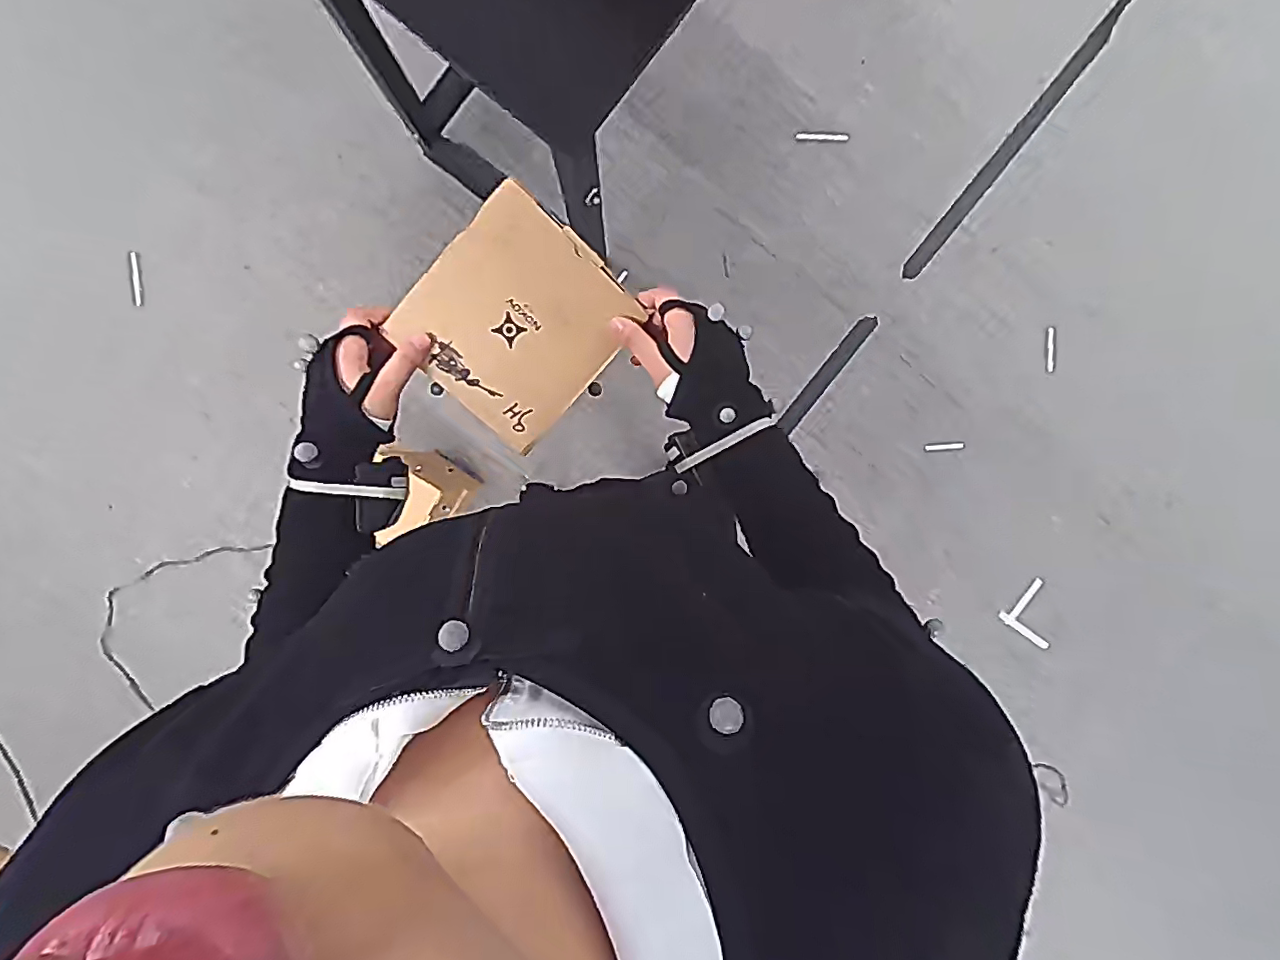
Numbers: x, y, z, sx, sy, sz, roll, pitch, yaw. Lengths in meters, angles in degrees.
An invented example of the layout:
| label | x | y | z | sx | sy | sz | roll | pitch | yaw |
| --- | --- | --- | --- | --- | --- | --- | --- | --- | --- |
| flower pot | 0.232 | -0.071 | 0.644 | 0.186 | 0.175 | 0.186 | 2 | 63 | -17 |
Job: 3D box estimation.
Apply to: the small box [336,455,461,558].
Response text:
| label | x | y | z | sx | sy | sz | roll | pitch | yaw |
| --- | --- | --- | --- | --- | --- | --- | --- | --- | --- |
| small box | -0.541 | 0.053 | 1.240 | 0.179 | 0.176 | 0.168 | 31 | 91 | -2 |

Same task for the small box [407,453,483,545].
| label | x | y | z | sx | sy | sz | roll | pitch | yaw |
| --- | --- | --- | --- | --- | --- | --- | --- | --- | --- |
| small box | -0.539 | 0.045 | 1.402 | 0.179 | 0.176 | 0.168 | 34 | 92 | -4 |
